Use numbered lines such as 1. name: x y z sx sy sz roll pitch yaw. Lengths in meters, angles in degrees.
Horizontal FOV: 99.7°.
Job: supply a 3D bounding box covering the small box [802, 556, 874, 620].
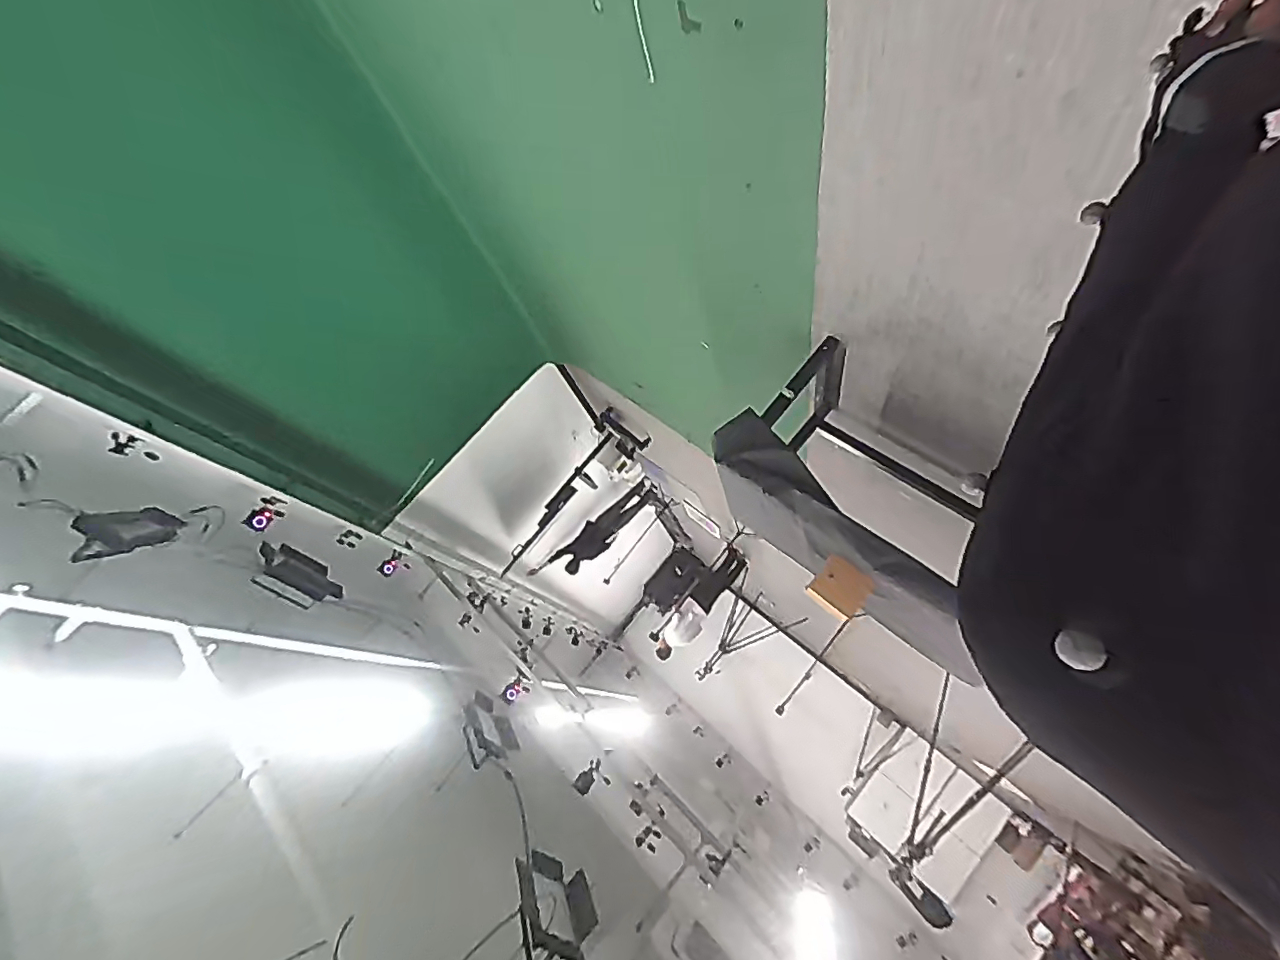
1. small box: 0.736 0.398 2.016 0.179 0.176 0.168 38 172 18
